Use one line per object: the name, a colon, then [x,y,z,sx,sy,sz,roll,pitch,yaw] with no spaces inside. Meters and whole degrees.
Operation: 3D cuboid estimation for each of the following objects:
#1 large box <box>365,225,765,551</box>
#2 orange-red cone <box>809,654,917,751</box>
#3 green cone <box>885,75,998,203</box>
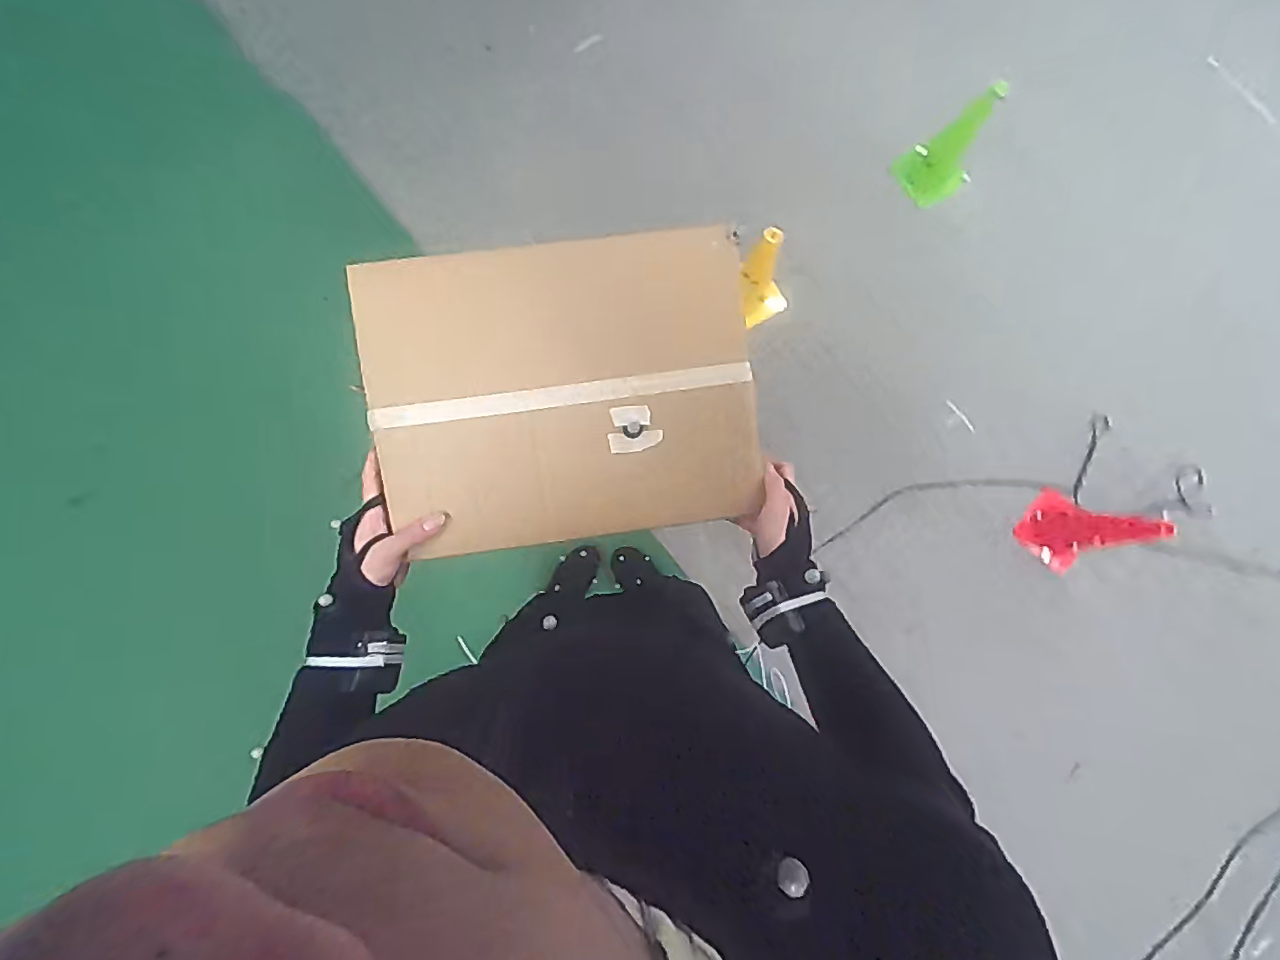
large box: [-0.084,-0.110,0.731,0.408,0.320,0.320,-7,96,-4]
orange-red cone: [0.632,0.634,1.445,0.198,0.360,0.199,-32,87,-3]
green cone: [0.939,-1.053,1.618,0.202,0.368,0.200,-34,86,-3]
